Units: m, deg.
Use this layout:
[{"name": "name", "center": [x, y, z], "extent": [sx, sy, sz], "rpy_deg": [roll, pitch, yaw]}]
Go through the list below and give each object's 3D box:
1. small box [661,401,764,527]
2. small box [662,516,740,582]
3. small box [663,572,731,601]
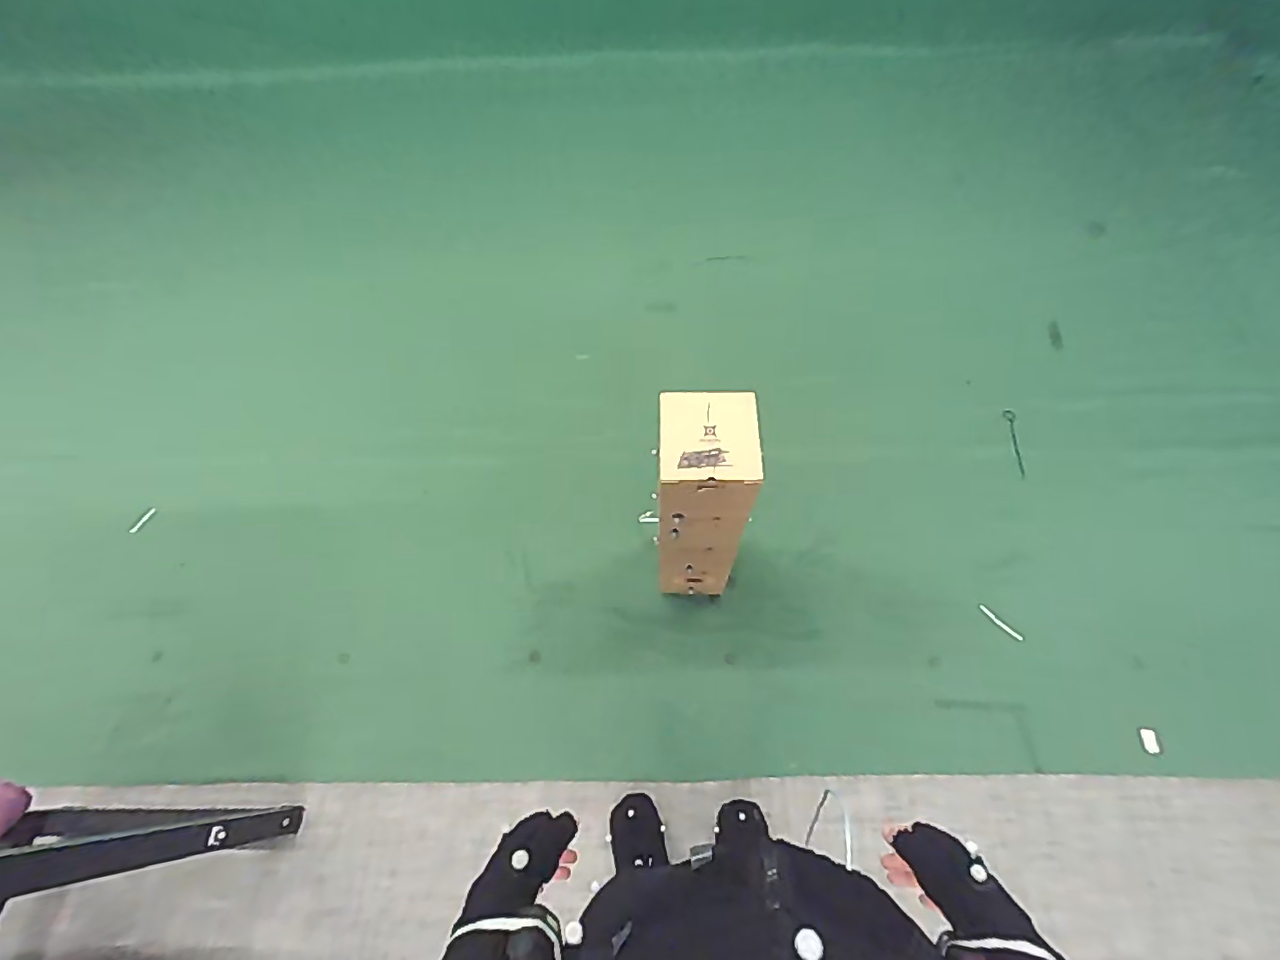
[{"name": "small box", "center": [0.122, -0.023, 0.968], "extent": [0.168, 0.176, 0.179], "rpy_deg": [0, 62, 2]}, {"name": "small box", "center": [0.136, 0.128, 1.260], "extent": [0.168, 0.176, 0.179], "rpy_deg": [0, 63, 2]}, {"name": "small box", "center": [0.144, 0.204, 1.403], "extent": [0.168, 0.176, 0.179], "rpy_deg": [1, 63, 3]}]
